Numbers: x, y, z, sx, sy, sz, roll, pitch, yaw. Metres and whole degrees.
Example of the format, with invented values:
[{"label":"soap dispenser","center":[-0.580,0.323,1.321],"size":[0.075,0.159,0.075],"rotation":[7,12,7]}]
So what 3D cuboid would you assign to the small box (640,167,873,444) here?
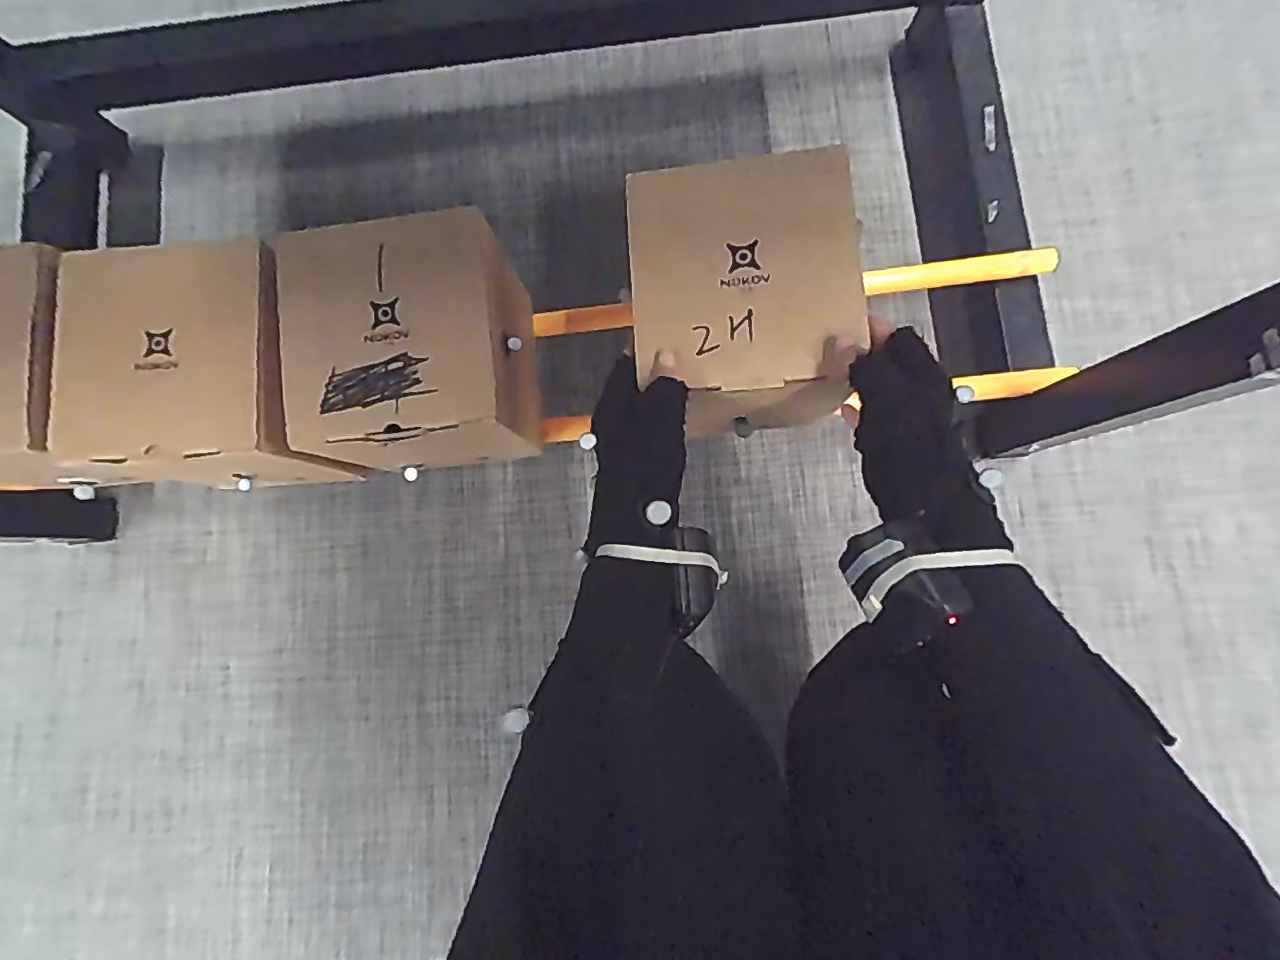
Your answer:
[{"label":"small box","center":[0.092,-0.134,0.478],"size":[0.168,0.176,0.179],"rotation":[-3,85,8]}]
